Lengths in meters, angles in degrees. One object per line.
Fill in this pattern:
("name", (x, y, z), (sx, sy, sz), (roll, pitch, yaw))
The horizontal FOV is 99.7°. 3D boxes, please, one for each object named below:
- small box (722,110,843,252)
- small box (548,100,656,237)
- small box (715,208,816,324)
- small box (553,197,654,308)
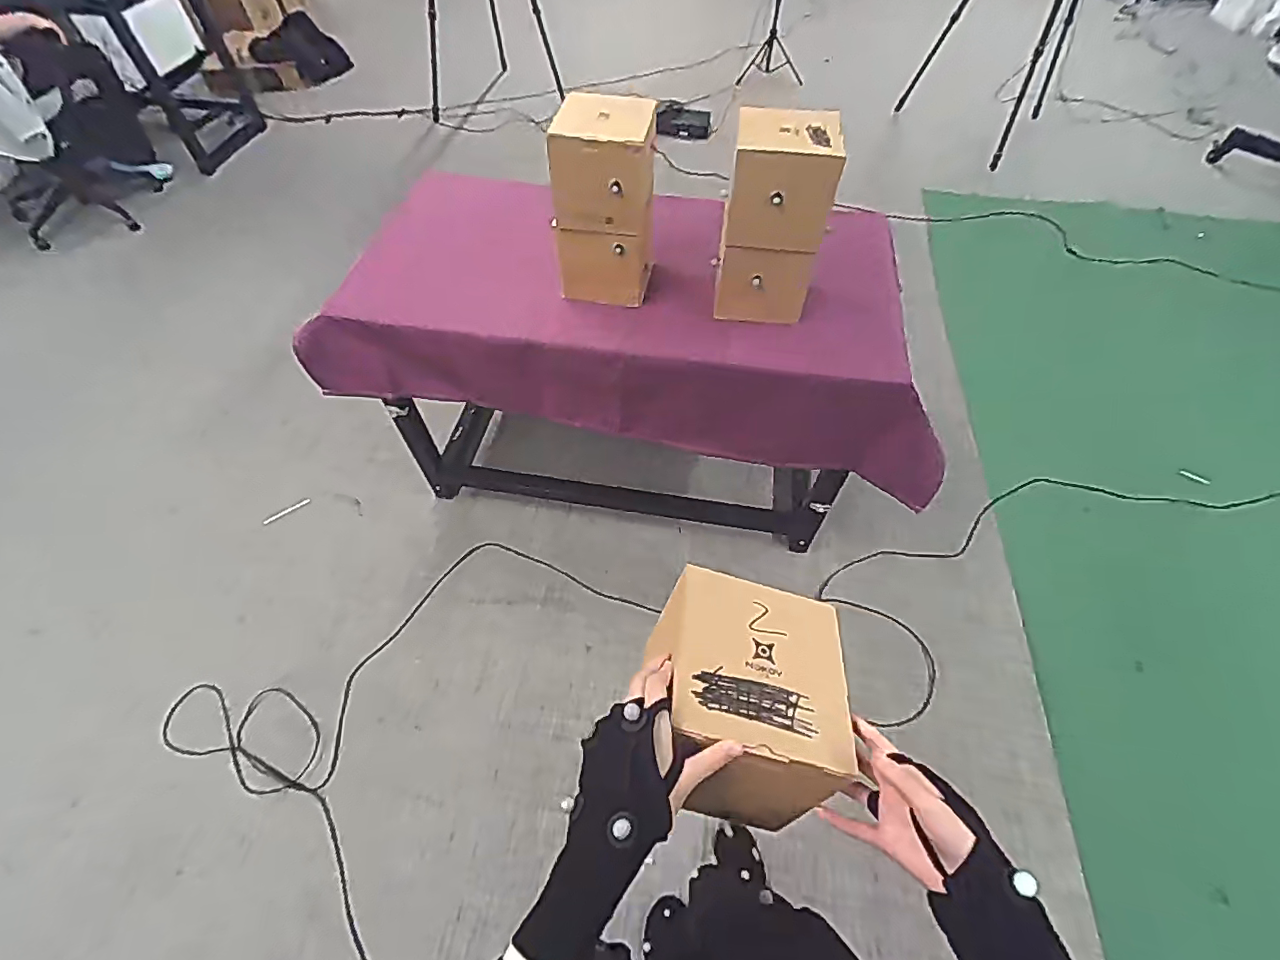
("small box", (0.249, -0.534, 0.975), (0.179, 0.176, 0.168), (6, 54, 5))
("small box", (-0.064, -0.582, 1.017), (0.168, 0.176, 0.179), (8, 54, 4))
("small box", (0.250, -0.441, 1.111), (0.179, 0.176, 0.168), (5, 55, 5))
("small box", (-0.071, -0.489, 1.151), (0.179, 0.176, 0.168), (9, 55, 5))
